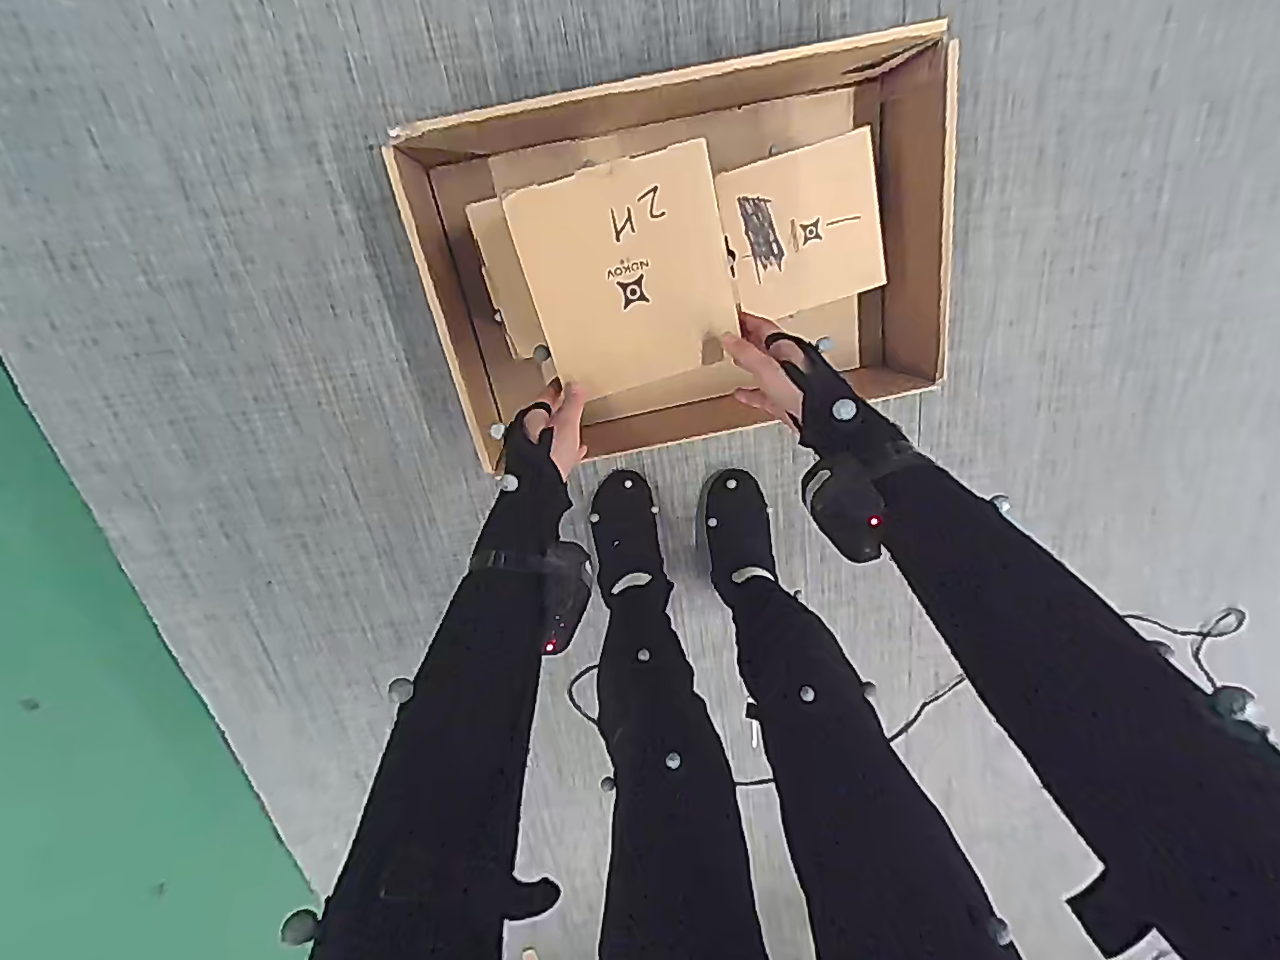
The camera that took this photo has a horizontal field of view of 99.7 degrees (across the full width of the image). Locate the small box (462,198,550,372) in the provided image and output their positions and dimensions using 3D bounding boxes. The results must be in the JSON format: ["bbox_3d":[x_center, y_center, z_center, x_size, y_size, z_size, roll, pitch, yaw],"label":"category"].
[{"bbox_3d":[-0.093,-0.247,0.668,0.179,0.176,0.168,-16,113,-1],"label":"small box"}]

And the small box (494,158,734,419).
[{"bbox_3d":[-0.024,-0.183,0.525,0.168,0.176,0.179,-18,113,-1],"label":"small box"}]

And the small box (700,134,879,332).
[{"bbox_3d":[0.166,-0.297,0.676,0.179,0.176,0.168,-19,112,2],"label":"small box"}]
